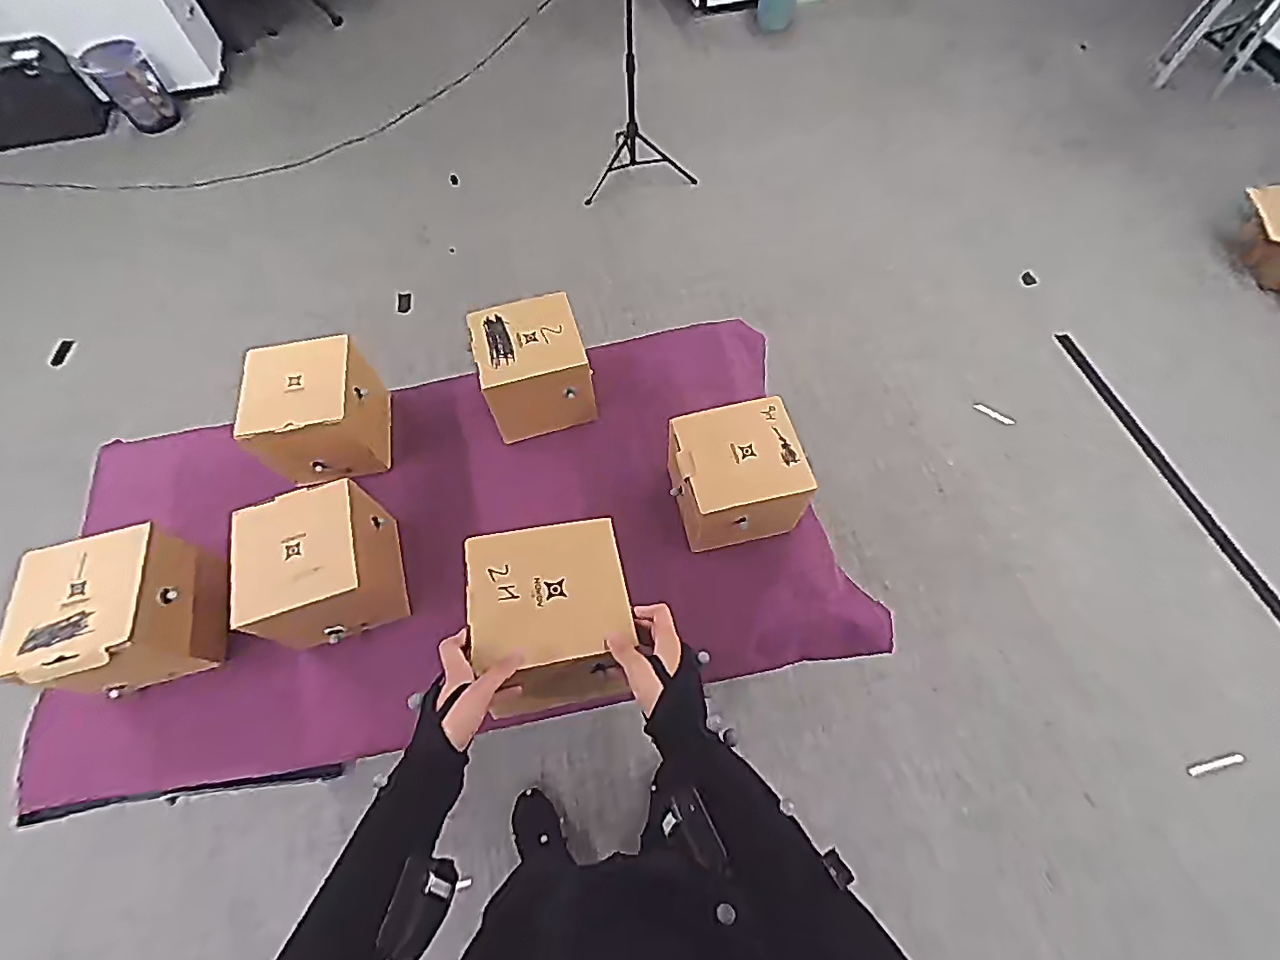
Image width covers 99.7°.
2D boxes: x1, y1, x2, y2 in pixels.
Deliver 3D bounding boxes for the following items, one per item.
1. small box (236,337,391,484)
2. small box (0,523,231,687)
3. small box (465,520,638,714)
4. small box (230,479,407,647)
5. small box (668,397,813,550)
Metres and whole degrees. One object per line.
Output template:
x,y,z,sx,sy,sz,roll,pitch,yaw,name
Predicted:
-0.546,-0.115,0.930,0.168,0.176,0.179,-10,64,-4,small box
-0.736,0.189,0.784,0.168,0.176,0.179,-14,62,-6,small box
-0.109,0.171,0.663,0.179,0.176,0.168,-8,55,-10,small box
-0.470,0.129,0.810,0.168,0.176,0.179,-18,64,-6,small box
0.148,-0.002,0.857,0.179,0.176,0.168,-12,64,-3,small box
